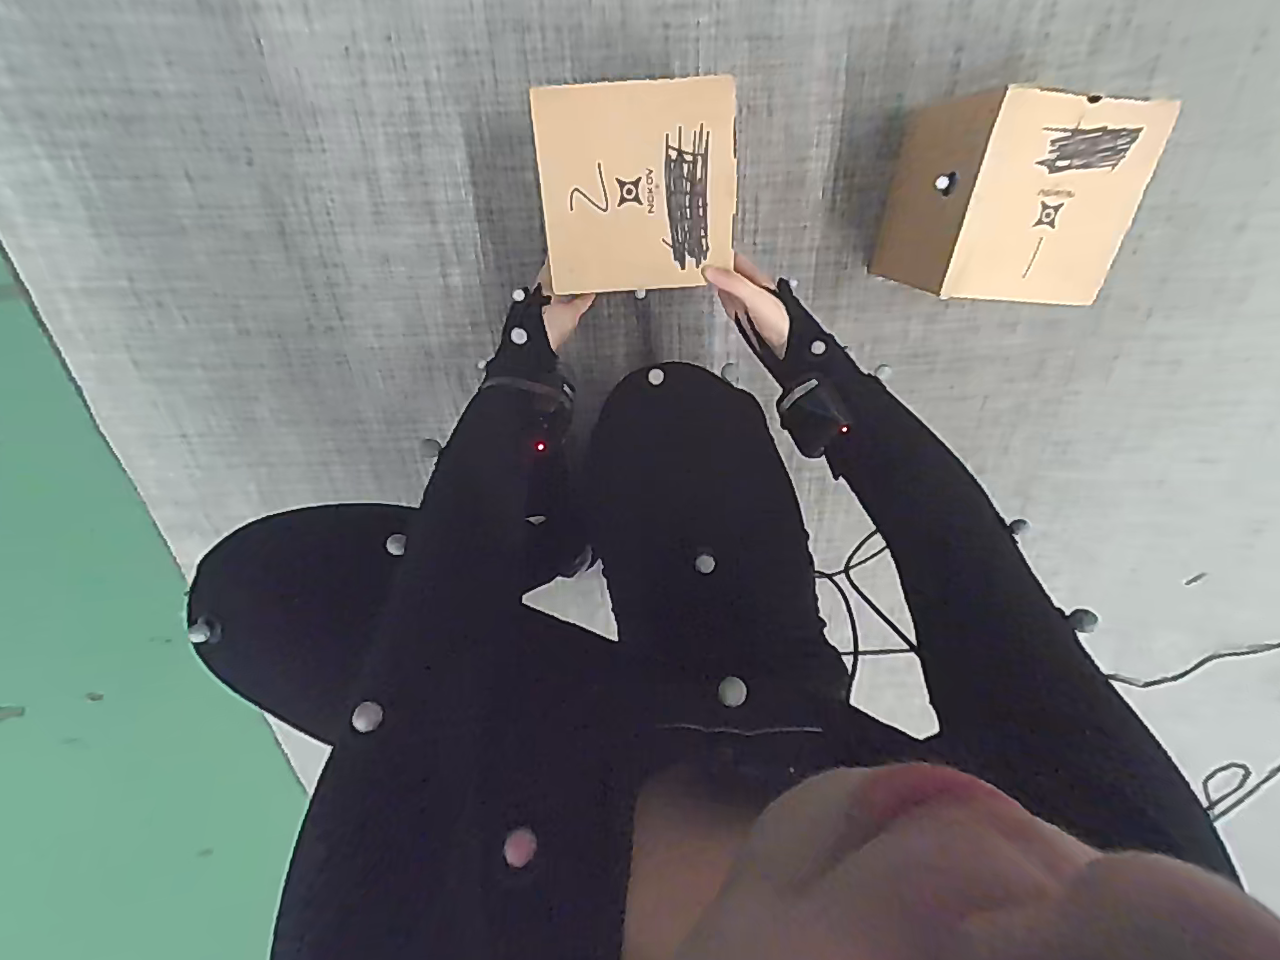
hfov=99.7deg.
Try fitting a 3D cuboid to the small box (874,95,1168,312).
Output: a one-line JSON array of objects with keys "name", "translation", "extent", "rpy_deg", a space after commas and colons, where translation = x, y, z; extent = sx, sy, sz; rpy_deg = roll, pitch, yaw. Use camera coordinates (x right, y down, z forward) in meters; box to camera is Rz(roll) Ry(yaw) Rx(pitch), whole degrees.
[{"name": "small box", "translation": [0.379, -0.289, 0.581], "extent": [0.168, 0.176, 0.179], "rpy_deg": [2, 118, -4]}]
